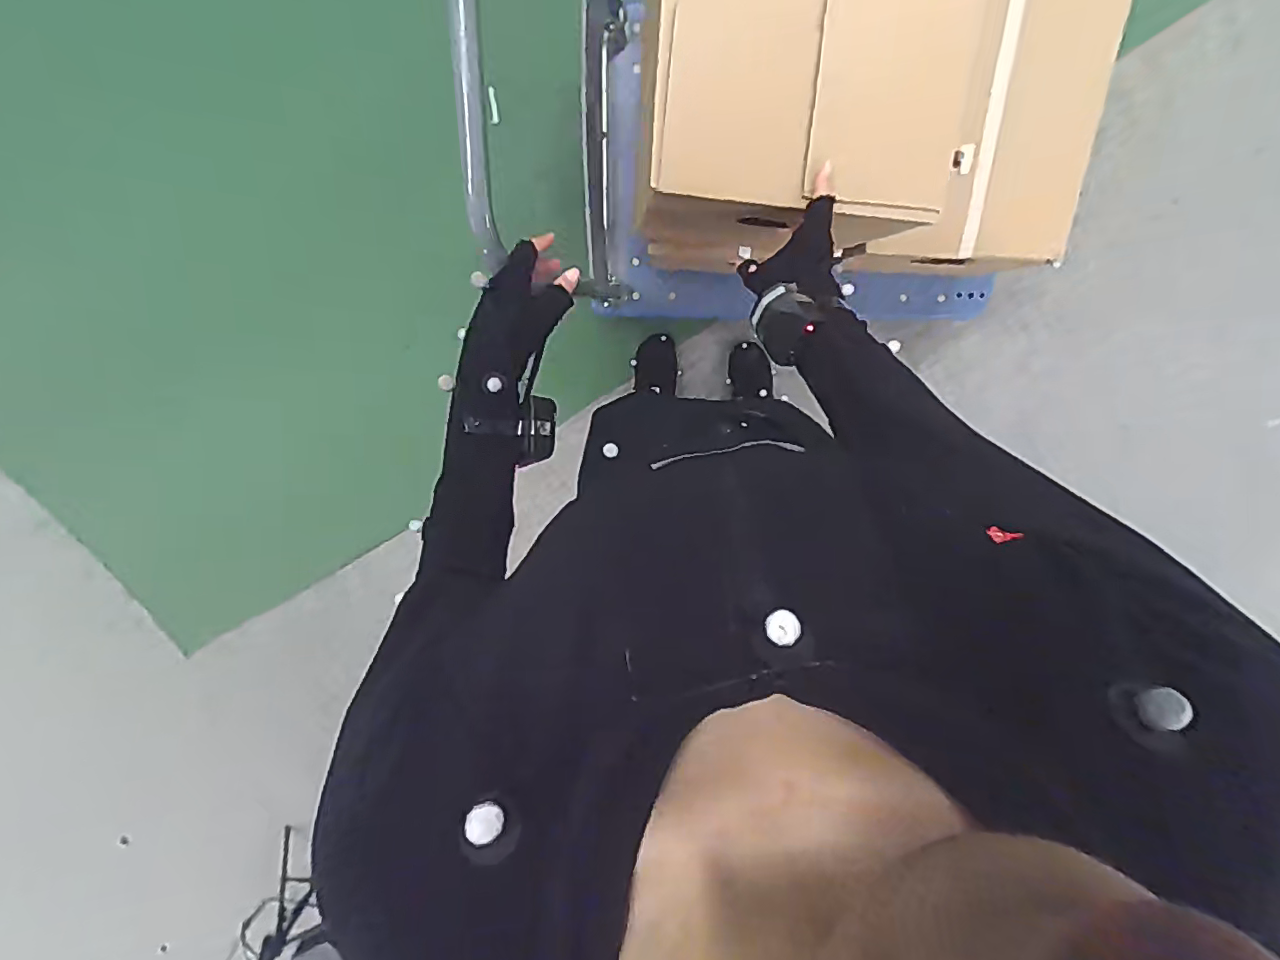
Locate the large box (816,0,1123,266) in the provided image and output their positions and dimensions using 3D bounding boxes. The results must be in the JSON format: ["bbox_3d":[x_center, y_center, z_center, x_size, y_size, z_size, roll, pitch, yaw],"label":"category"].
[{"bbox_3d":[0.520,-0.599,0.936,0.320,0.320,0.408,3,109,2],"label":"large box"}]
